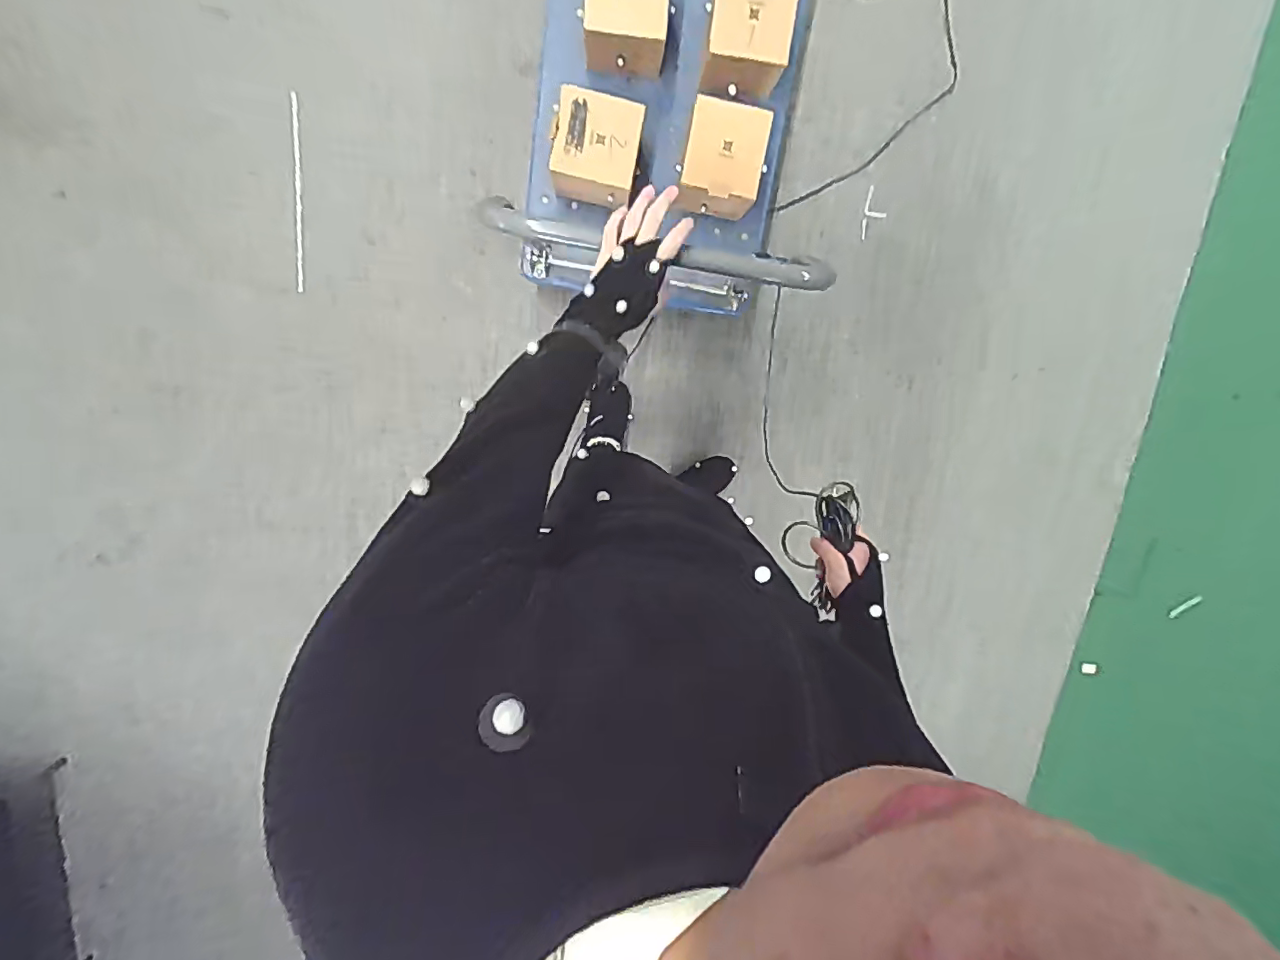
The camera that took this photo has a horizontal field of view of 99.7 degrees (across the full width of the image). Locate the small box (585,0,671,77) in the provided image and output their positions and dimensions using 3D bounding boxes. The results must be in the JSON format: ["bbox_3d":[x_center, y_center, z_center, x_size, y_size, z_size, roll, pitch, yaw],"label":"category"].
[{"bbox_3d":[-0.022,-0.985,1.129,0.168,0.176,0.179,5,103,-5],"label":"small box"}]

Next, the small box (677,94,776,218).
[{"bbox_3d":[0.184,-0.710,1.206,0.168,0.176,0.179,10,103,-5],"label":"small box"}]

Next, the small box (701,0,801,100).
[{"bbox_3d":[0.231,-0.954,1.150,0.168,0.176,0.179,7,104,-4],"label":"small box"}]
